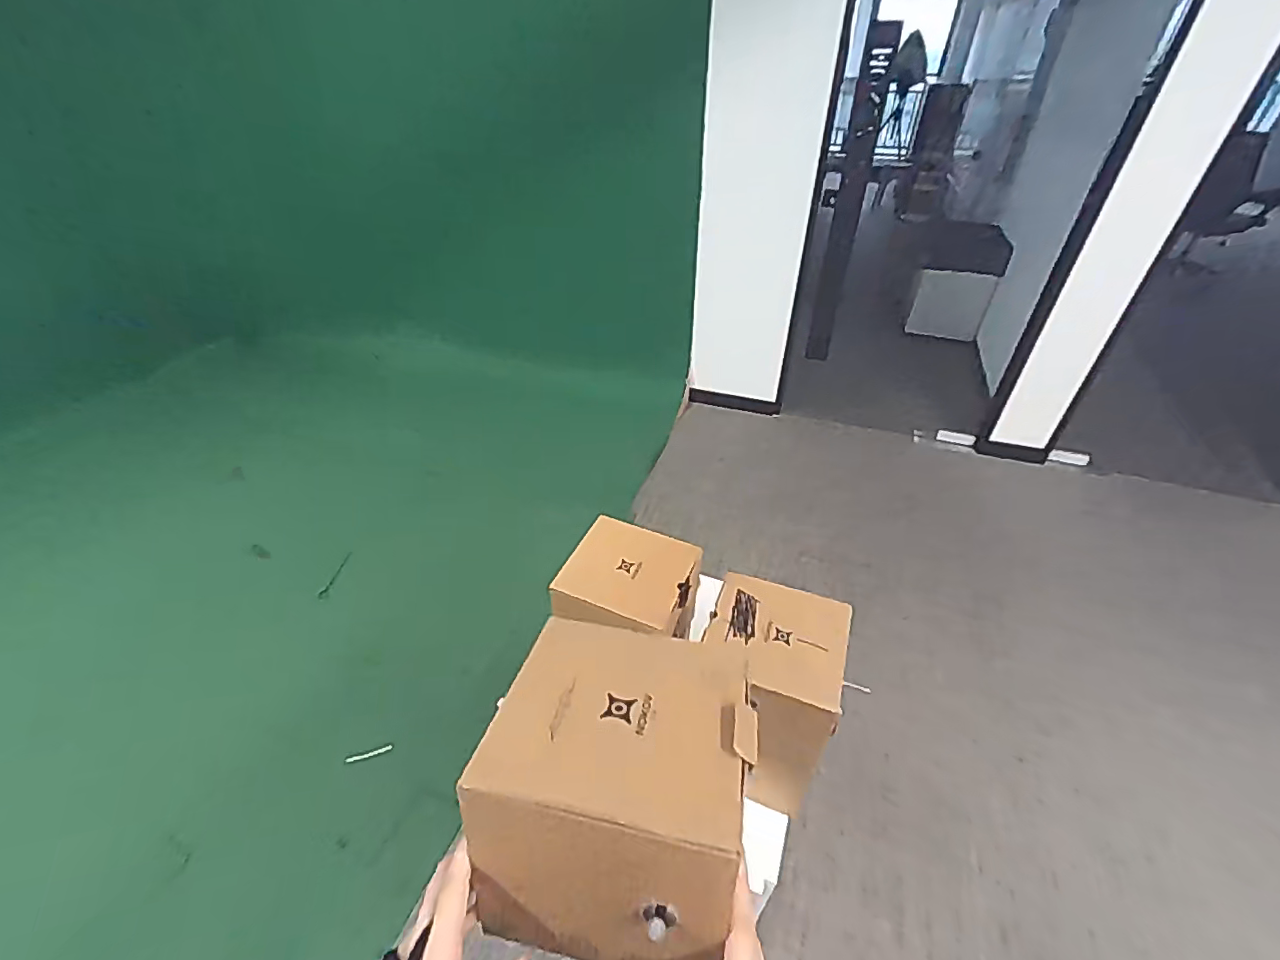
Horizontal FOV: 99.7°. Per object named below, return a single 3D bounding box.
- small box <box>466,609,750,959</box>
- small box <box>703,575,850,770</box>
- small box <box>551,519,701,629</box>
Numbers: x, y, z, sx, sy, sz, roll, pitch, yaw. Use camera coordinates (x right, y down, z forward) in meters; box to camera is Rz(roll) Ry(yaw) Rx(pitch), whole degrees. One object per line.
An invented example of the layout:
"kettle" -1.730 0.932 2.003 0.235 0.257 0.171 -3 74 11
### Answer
"small box" -0.012 0.231 0.429 0.179 0.176 0.168 6 24 10
"small box" 0.175 0.266 0.752 0.179 0.176 0.168 14 40 18
"small box" -0.020 0.194 0.843 0.179 0.176 0.168 17 41 16
